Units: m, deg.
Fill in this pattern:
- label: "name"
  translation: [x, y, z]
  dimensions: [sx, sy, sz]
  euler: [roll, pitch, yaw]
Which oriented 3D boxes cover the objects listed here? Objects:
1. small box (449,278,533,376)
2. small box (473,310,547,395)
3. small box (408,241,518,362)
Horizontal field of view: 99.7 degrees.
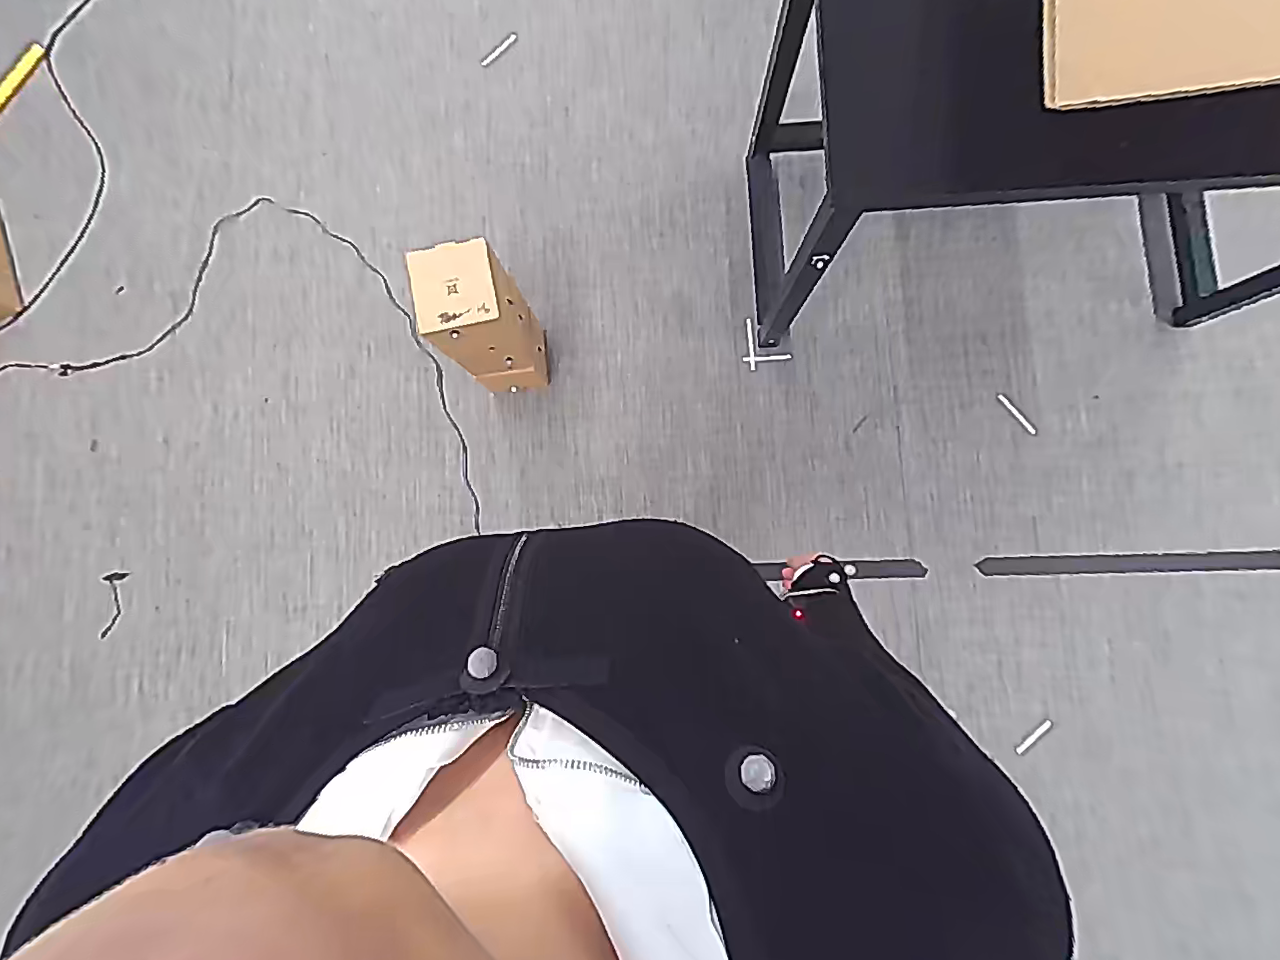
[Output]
- label: "small box"
  translation: [-0.367, -0.365, 1.326]
  dimensions: [0.168, 0.176, 0.179]
  euler: [-9, 83, 1]
- label: "small box"
  translation: [-0.358, -0.345, 1.487]
  dimensions: [0.168, 0.176, 0.179]
  euler: [-6, 85, 2]
- label: "small box"
  translation: [-0.373, -0.376, 1.162]
  dimensions: [0.168, 0.176, 0.179]
  euler: [-11, 84, 1]
